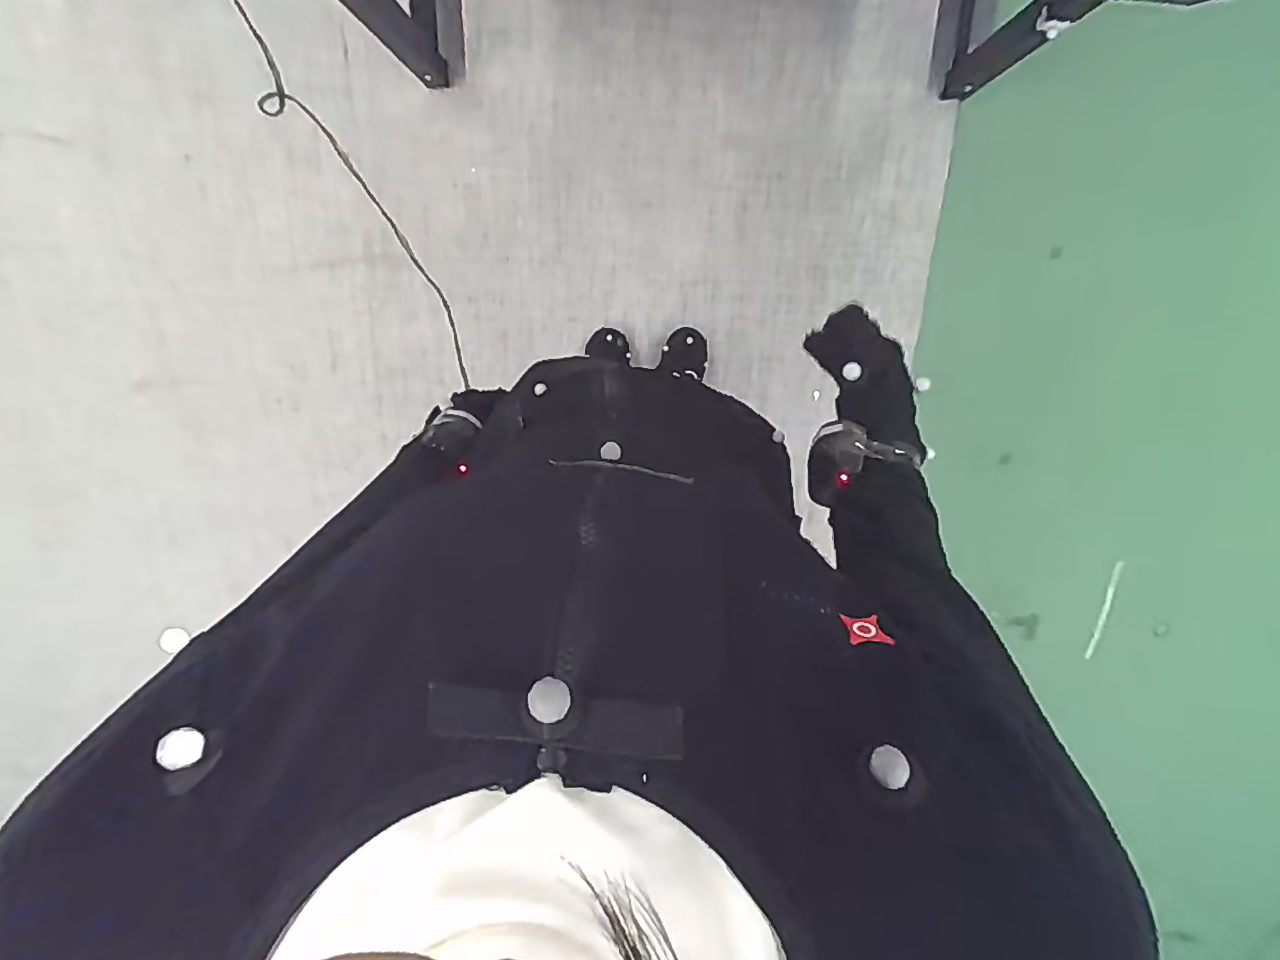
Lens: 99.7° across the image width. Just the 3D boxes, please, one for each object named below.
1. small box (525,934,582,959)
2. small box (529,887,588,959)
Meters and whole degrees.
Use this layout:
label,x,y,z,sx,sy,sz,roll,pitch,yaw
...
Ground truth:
label,x,y,z,sx,sy,sz,roll,pitch,yaw
small box,-0.279,1.574,1.698,0.179,0.176,0.168,1,106,1
small box,-0.276,1.538,1.855,0.179,0.176,0.168,2,108,0
